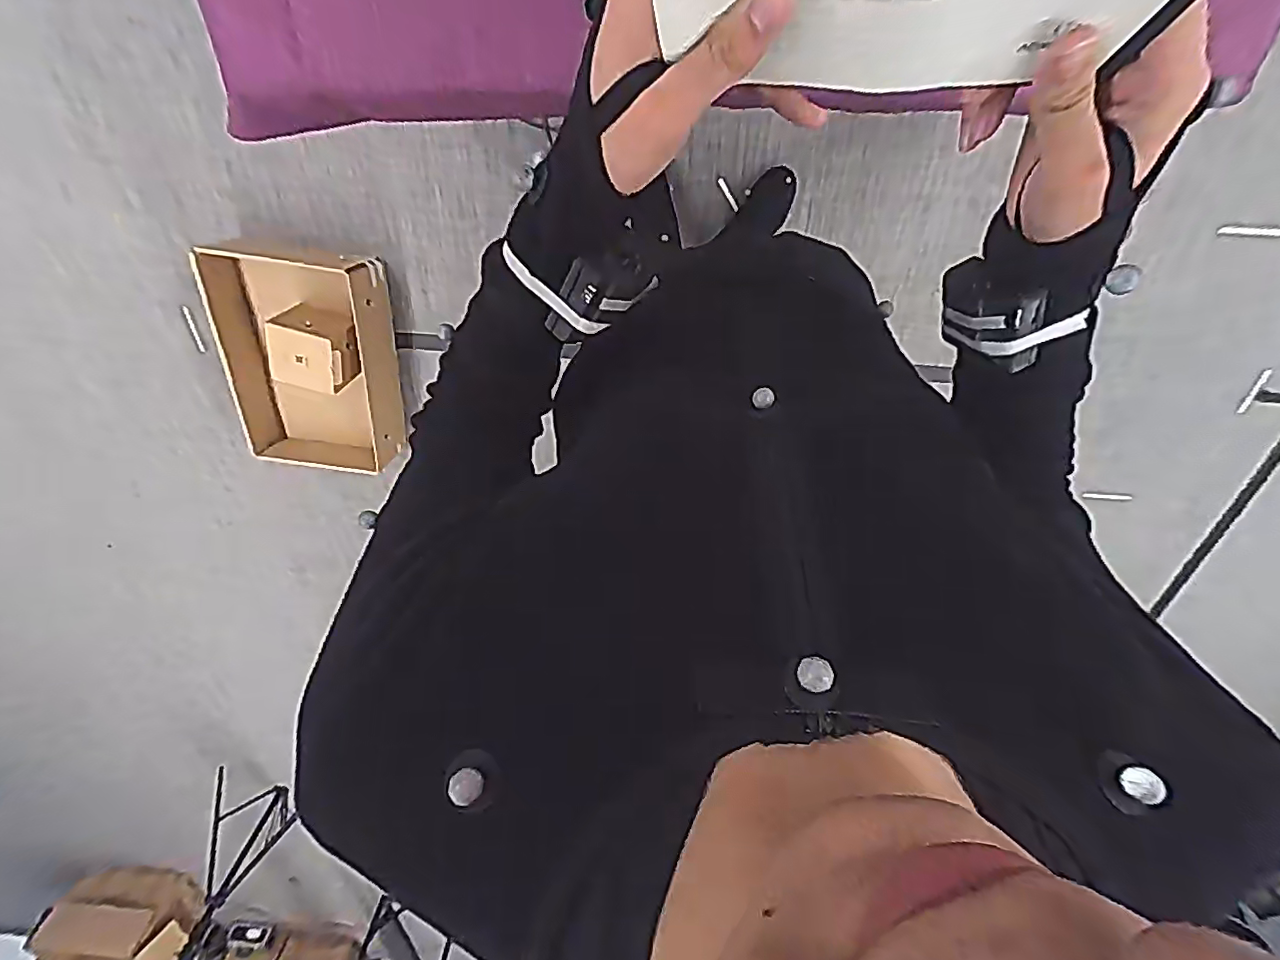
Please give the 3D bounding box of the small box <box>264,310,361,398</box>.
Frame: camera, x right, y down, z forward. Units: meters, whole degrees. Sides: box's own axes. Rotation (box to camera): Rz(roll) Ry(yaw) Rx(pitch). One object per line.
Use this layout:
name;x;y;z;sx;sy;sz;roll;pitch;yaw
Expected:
small box;-0.898;-0.356;1.503;0.179;0.176;0.168;15;123;-6
